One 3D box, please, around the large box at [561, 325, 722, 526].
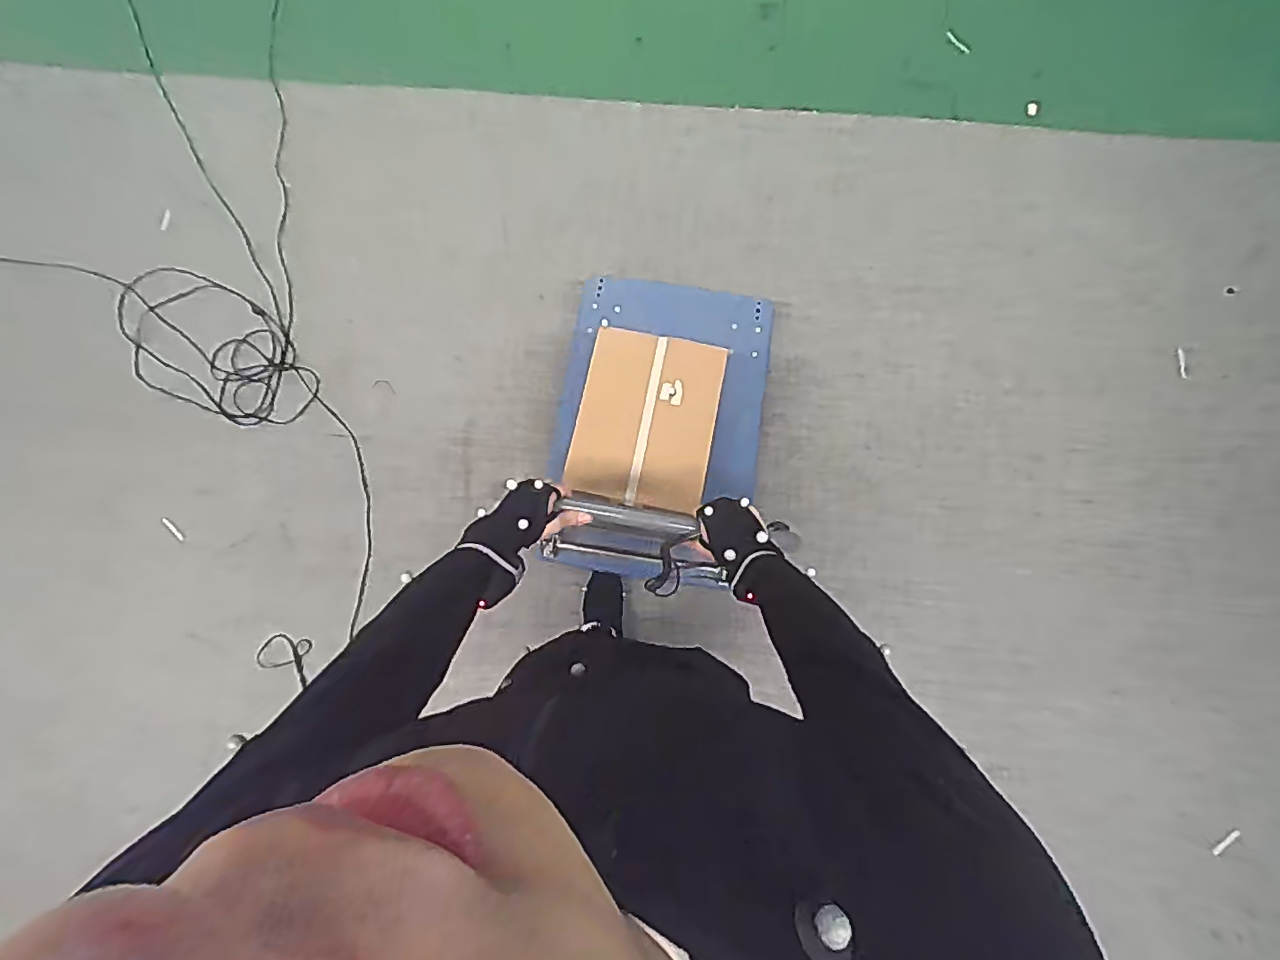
[{"bbox_3d":[0.009,-0.120,1.383,0.320,0.320,0.408,12,78,2],"label":"large box"}]
